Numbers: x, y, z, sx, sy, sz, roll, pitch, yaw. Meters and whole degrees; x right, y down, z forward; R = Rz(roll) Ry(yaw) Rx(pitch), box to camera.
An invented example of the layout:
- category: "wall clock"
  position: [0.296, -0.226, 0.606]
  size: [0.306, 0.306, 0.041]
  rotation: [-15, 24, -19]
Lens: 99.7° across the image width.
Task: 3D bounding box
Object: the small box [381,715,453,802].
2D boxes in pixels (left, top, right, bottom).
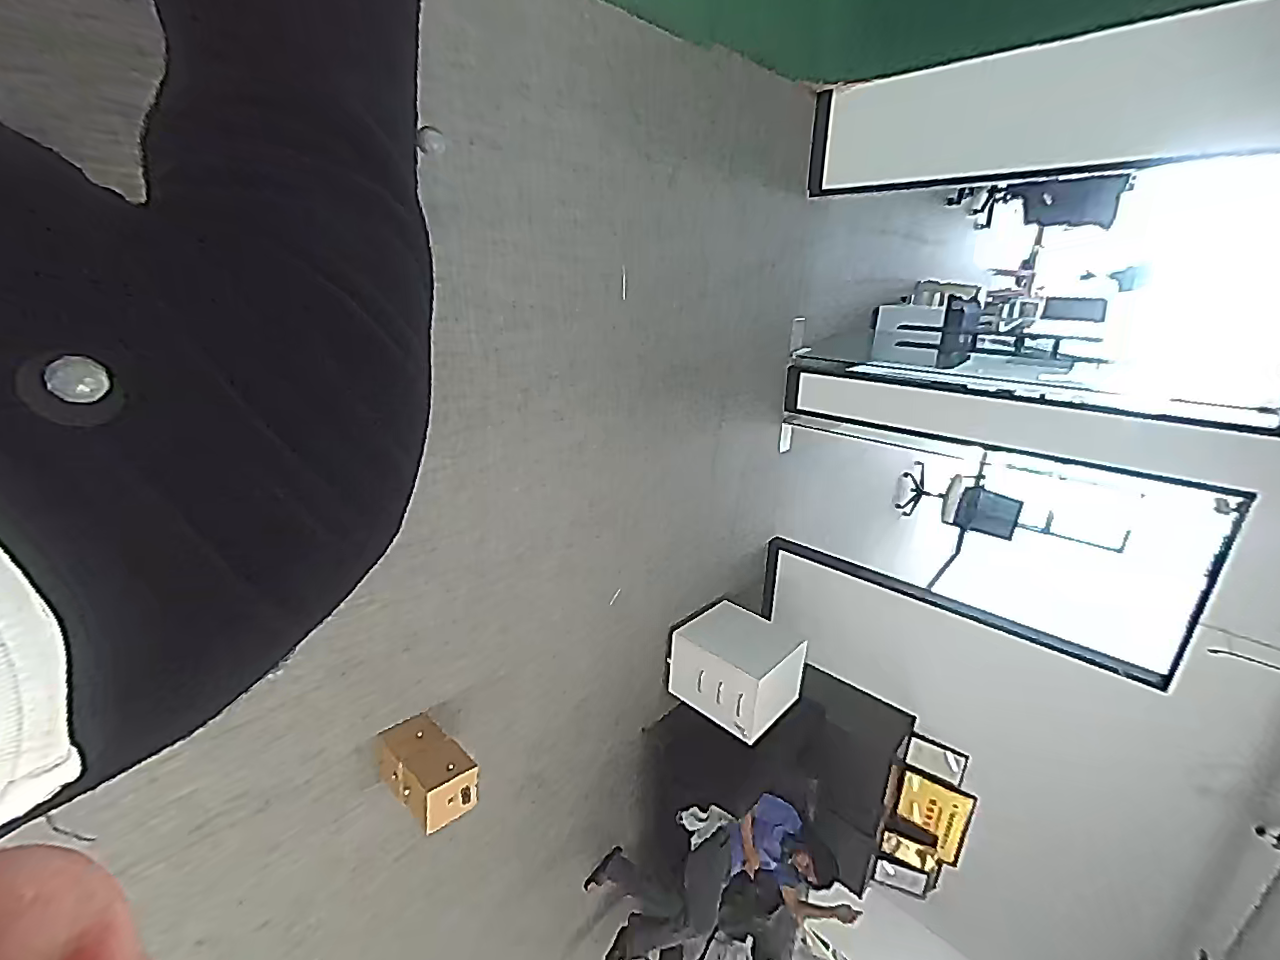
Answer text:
- category: "small box"
  position: [-0.764, 0.944, 1.853]
  size: [0.179, 0.176, 0.168]
  rotation: [-13, 115, -47]

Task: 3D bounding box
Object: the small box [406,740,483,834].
- category: "small box"
  position: [-0.636, 0.986, 1.757]
  size: [0.179, 0.176, 0.168]
  rotation: [-10, 112, -47]
